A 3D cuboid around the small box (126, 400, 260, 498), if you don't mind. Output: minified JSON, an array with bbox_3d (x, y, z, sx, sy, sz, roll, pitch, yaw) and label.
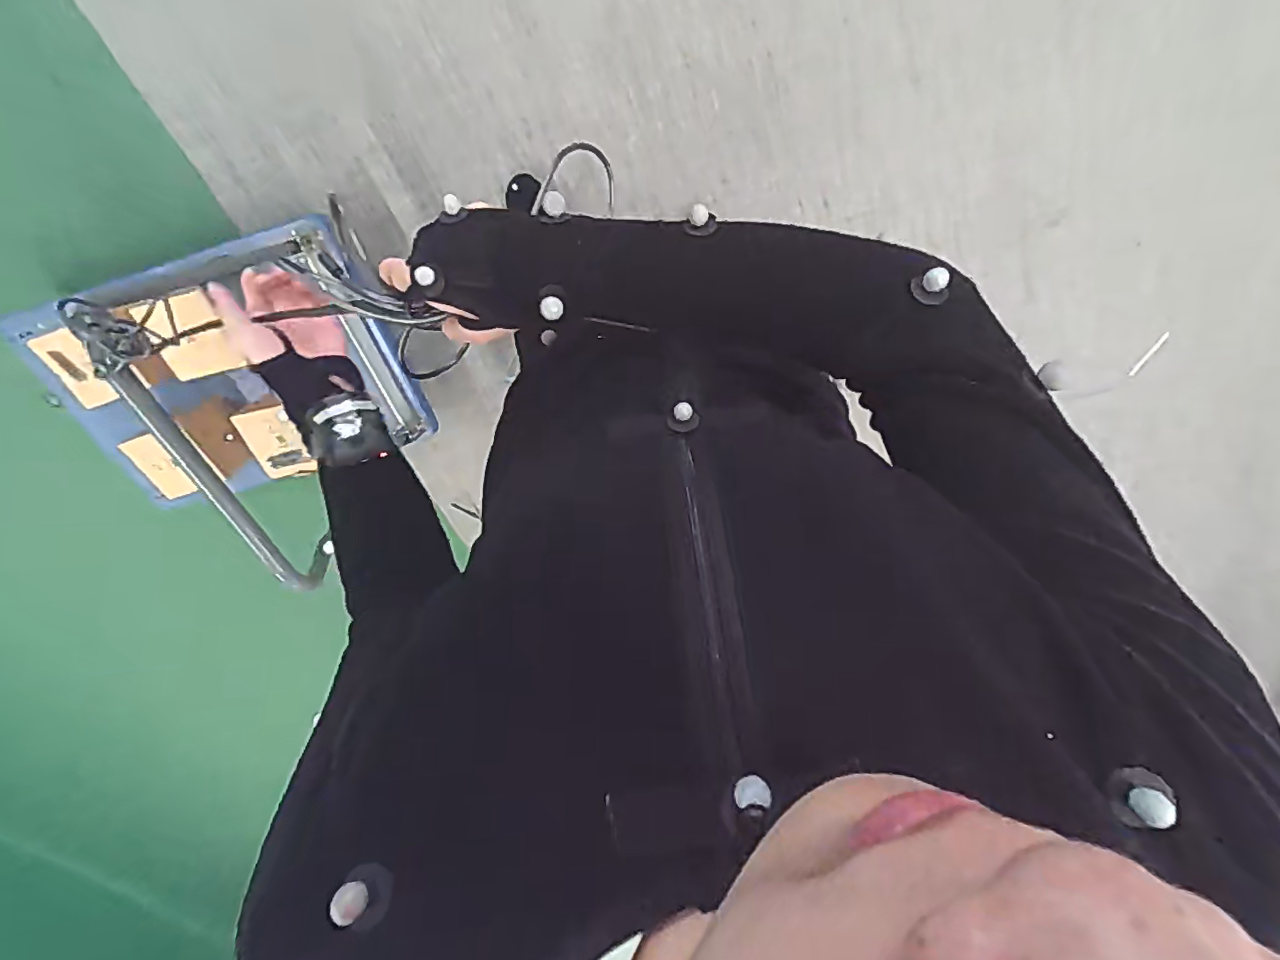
[{"bbox_3d":[-1.120,-0.084,1.379,0.179,0.176,0.168,-17,120,9],"label":"small box"}]

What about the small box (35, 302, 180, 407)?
[{"bbox_3d":[-1.188,-0.293,1.249,0.179,0.176,0.168,-16,121,7],"label":"small box"}]

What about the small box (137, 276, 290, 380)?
[{"bbox_3d":[-0.949,-0.346,1.223,0.179,0.176,0.168,-12,121,5],"label":"small box"}]
